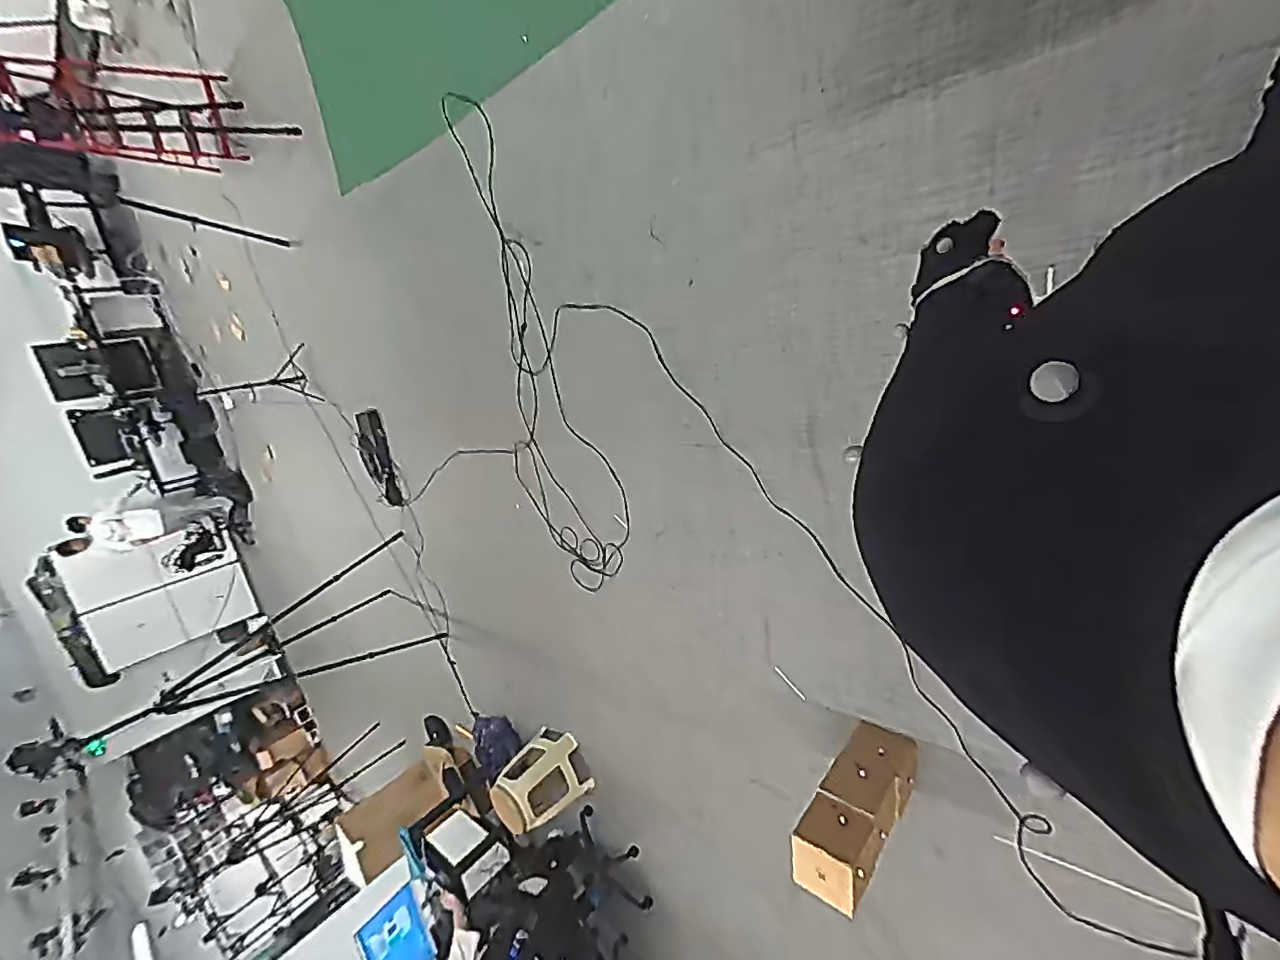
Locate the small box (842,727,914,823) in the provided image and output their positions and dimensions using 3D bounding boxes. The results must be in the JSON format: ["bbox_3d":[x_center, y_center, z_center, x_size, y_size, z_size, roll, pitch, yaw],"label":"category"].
[{"bbox_3d":[0.745,0.912,1.690,0.179,0.176,0.168,7,112,41],"label":"small box"}]

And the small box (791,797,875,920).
[{"bbox_3d":[0.528,1.017,1.468,0.168,0.176,0.179,8,112,41],"label":"small box"}]

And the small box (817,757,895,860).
[{"bbox_3d":[0.632,0.960,1.579,0.168,0.176,0.179,8,112,41],"label":"small box"}]
